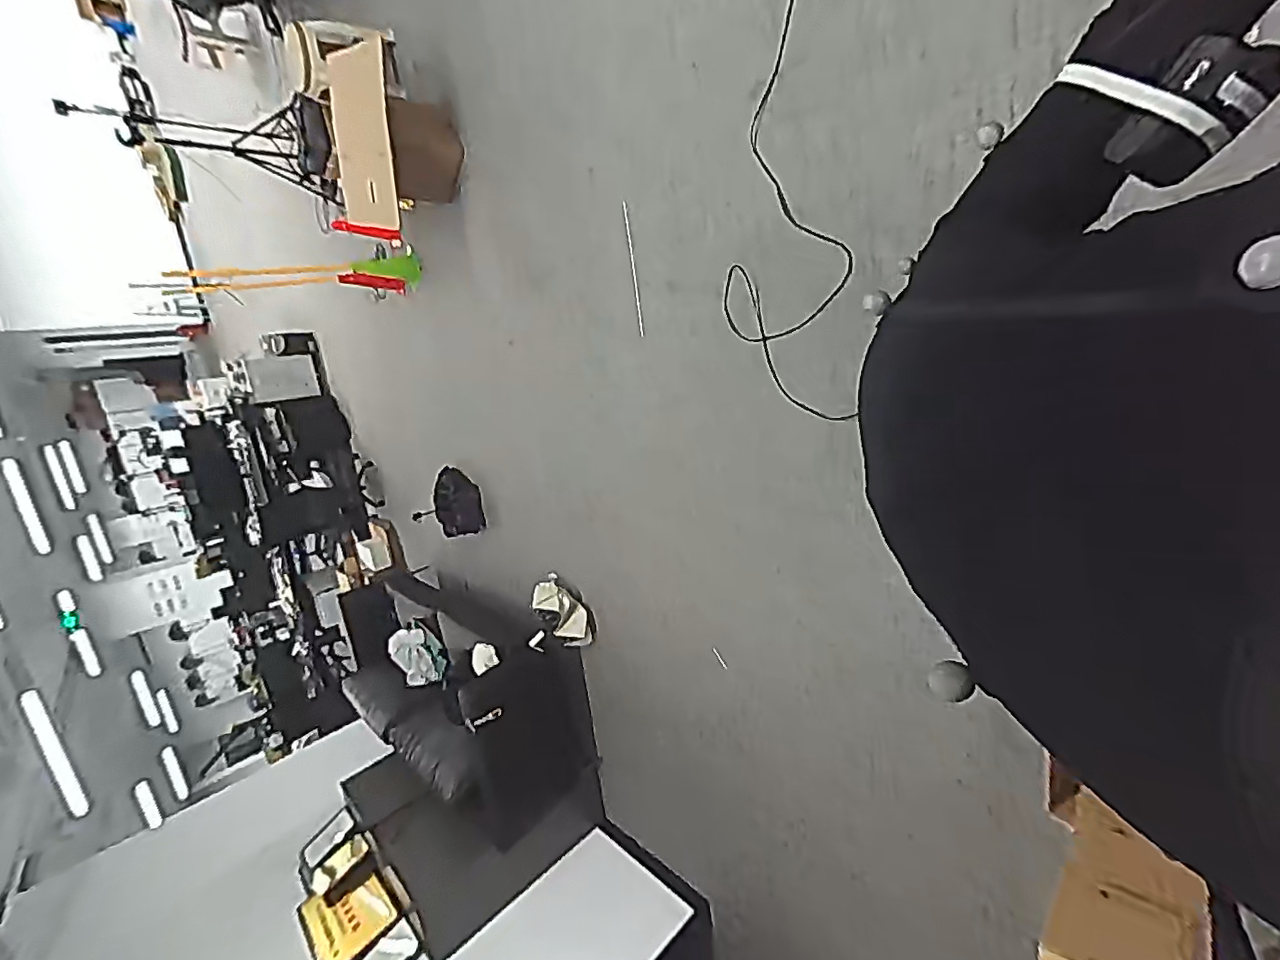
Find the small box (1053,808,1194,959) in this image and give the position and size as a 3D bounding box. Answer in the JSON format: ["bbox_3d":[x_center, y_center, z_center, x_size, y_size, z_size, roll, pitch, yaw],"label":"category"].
[{"bbox_3d":[0.844,0.727,0.946,0.168,0.176,0.179,6,109,46],"label":"small box"}]

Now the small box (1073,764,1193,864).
[{"bbox_3d":[0.947,0.697,1.048,0.168,0.176,0.179,5,108,45],"label":"small box"}]
